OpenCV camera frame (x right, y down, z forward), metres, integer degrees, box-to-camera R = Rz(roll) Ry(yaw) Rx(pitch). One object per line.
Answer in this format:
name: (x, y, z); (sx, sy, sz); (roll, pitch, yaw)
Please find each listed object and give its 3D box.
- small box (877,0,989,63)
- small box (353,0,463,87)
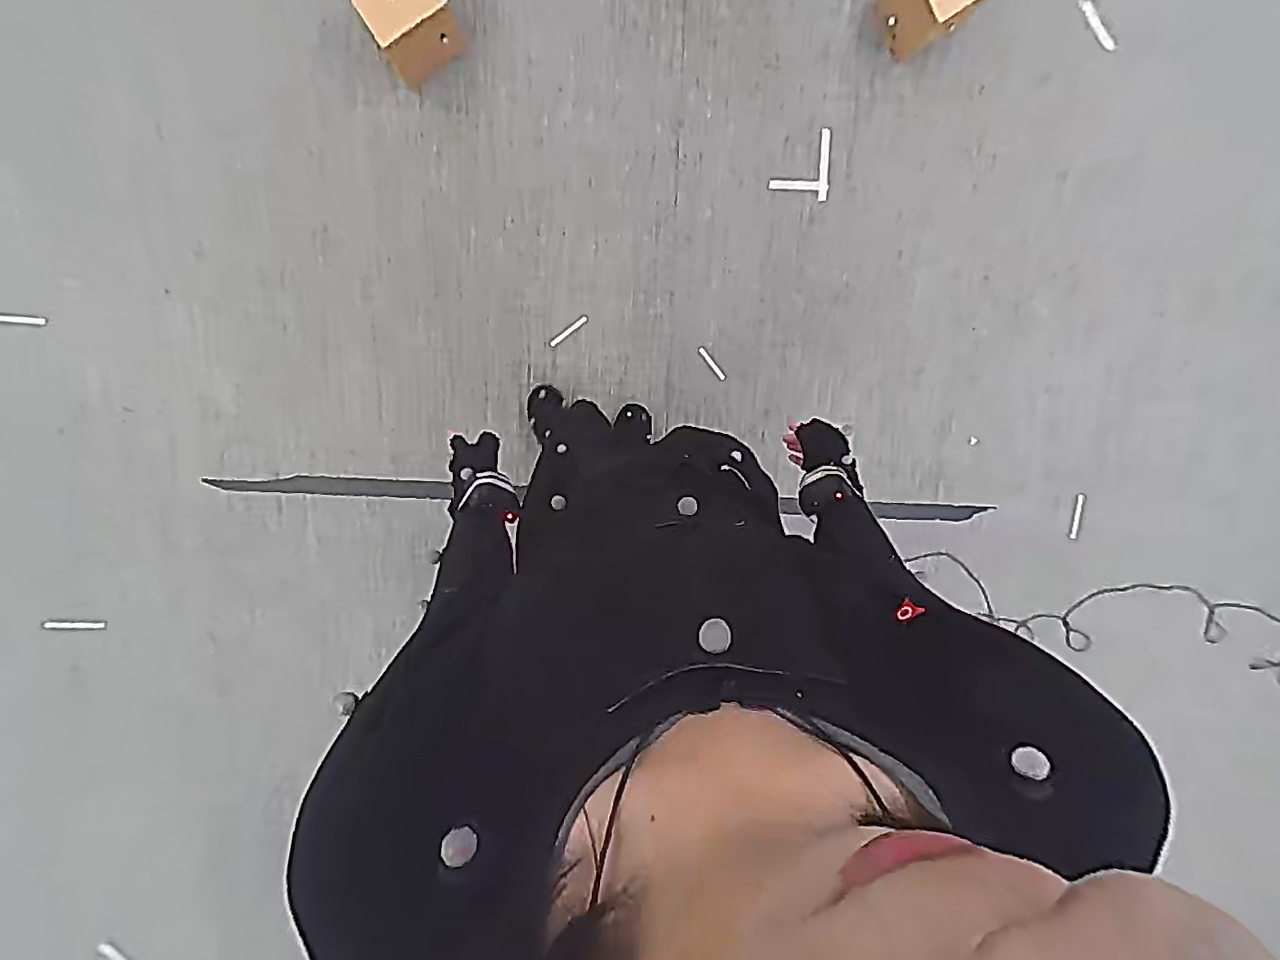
small box: (0.707, -1.157, 1.284); (0.179, 0.176, 0.168); (-31, 101, 3)
small box: (-0.520, -1.044, 1.212); (0.179, 0.176, 0.168); (-34, 99, 3)
